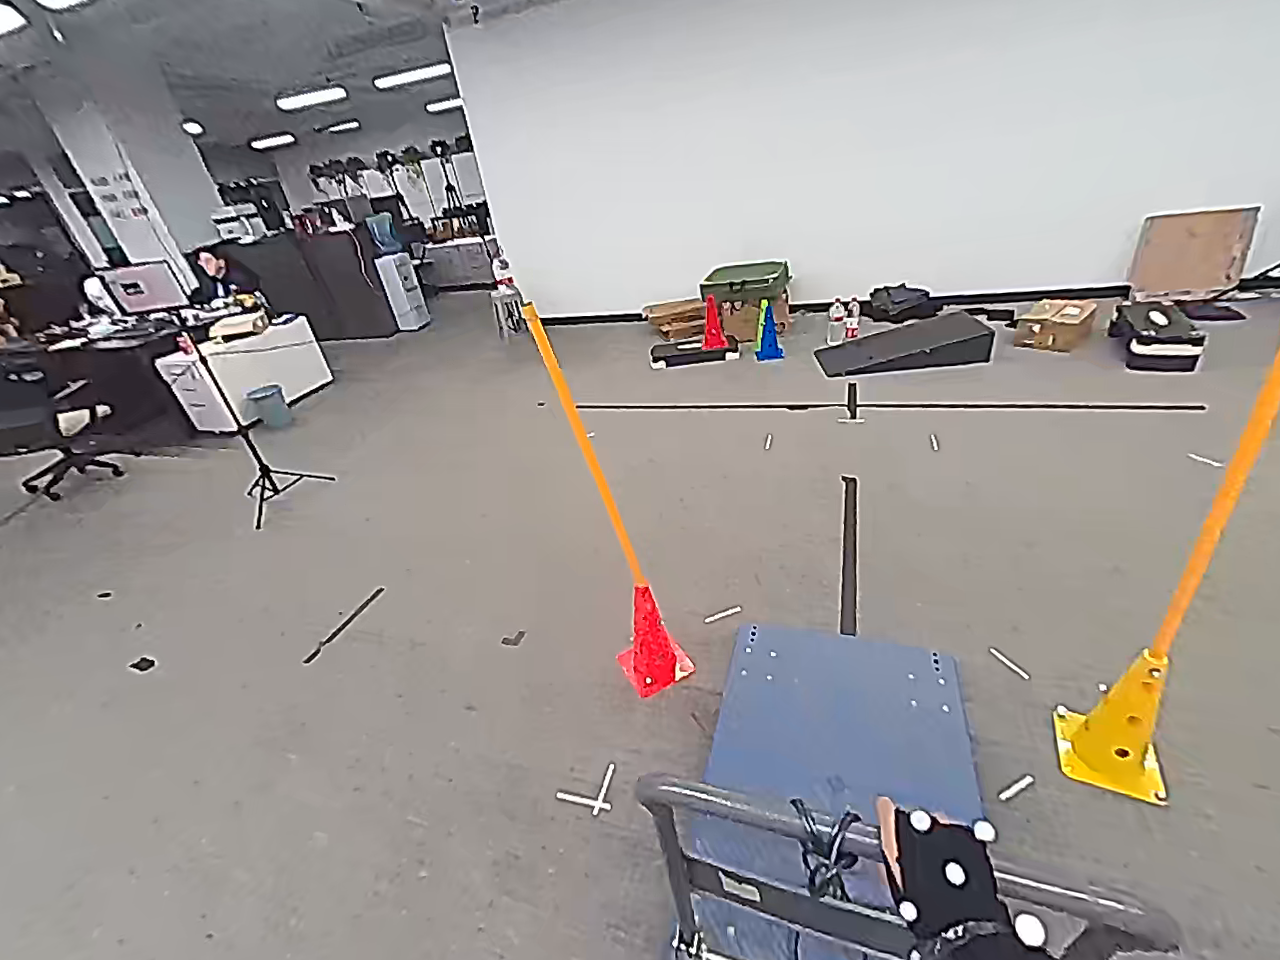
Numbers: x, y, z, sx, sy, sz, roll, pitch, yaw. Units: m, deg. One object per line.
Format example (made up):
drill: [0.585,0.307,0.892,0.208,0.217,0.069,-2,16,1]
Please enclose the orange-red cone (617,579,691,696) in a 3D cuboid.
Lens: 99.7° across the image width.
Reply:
orange-red cone: [0.024,0.449,1.665,0.199,0.360,0.198,-20,34,-20]
